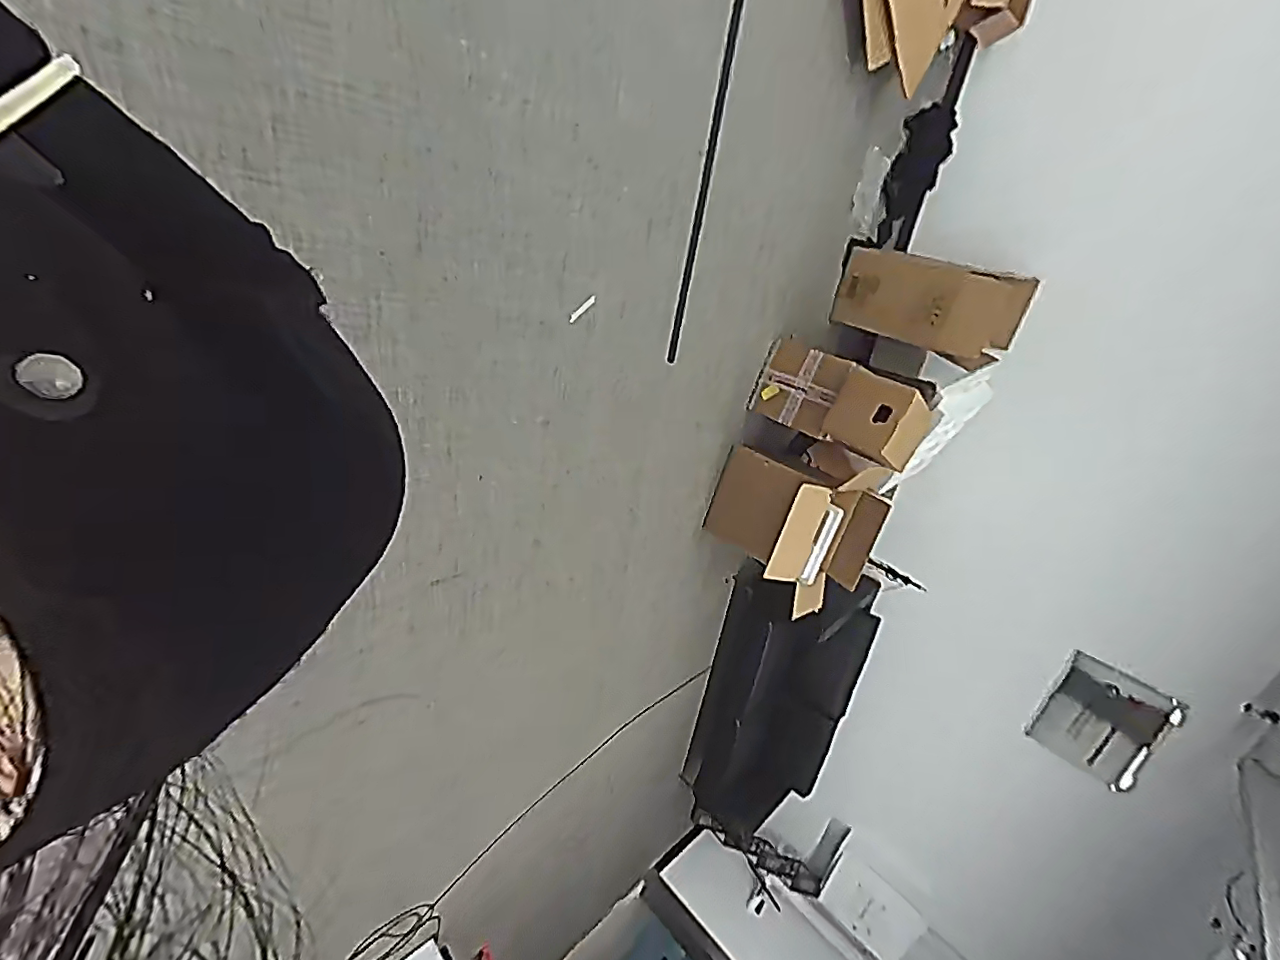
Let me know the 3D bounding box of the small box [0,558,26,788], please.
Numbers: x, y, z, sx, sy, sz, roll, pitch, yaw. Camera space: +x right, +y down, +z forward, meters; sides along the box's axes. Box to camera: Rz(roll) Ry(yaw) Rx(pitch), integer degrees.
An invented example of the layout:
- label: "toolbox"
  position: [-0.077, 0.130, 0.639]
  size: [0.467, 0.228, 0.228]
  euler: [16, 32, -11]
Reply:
- label: "small box"
  position: [-0.636, 0.166, 0.432]
  size: [0.179, 0.176, 0.168]
  euler: [-12, 121, -45]
